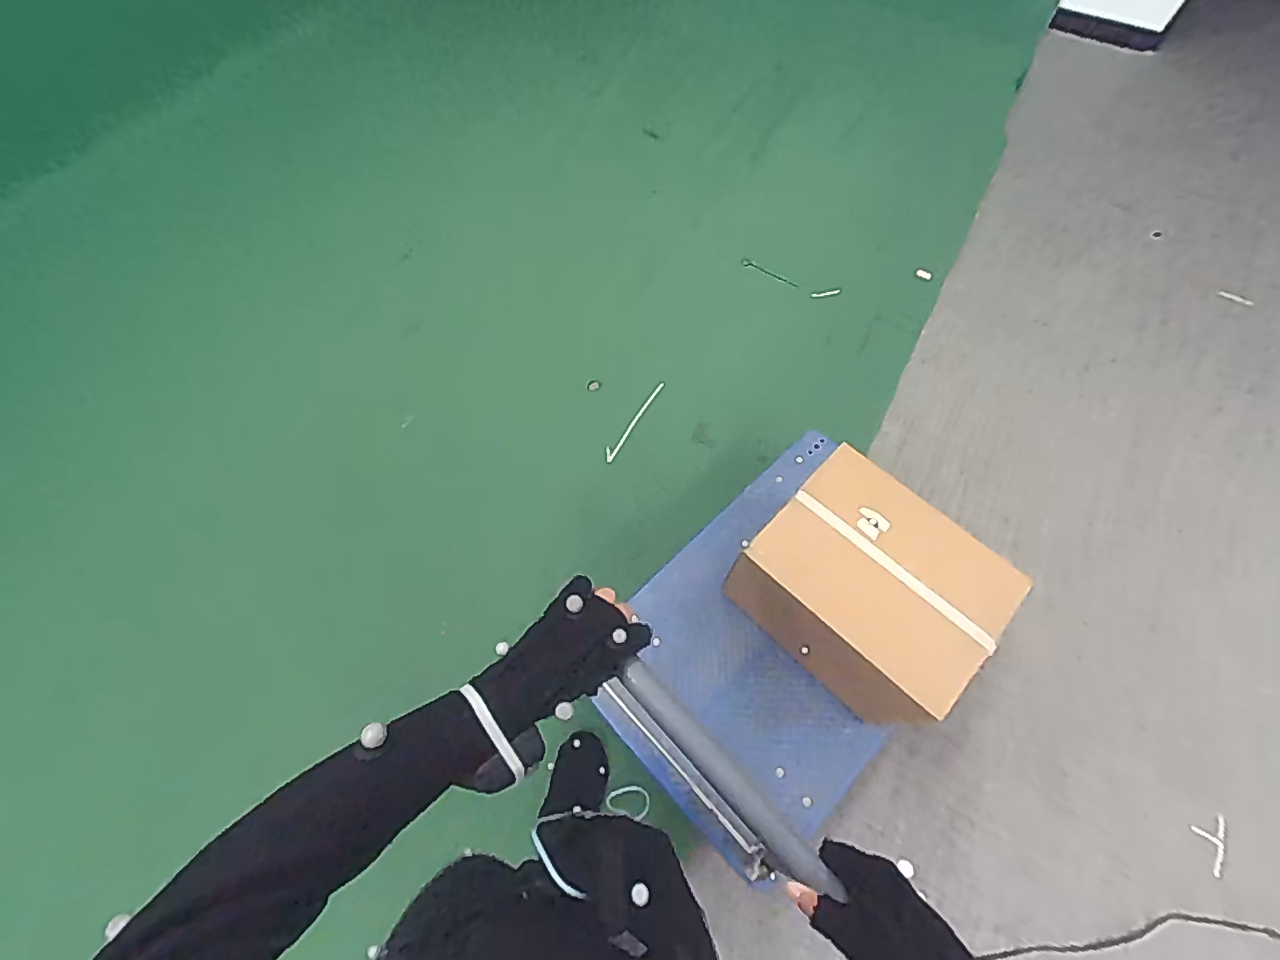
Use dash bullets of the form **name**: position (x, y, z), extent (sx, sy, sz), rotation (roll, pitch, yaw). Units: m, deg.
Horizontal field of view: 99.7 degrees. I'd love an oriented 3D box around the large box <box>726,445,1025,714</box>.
- **large box**: position (0.437, 0.211, 1.098), extent (0.408, 0.320, 0.320), rotation (41, 71, 18)
